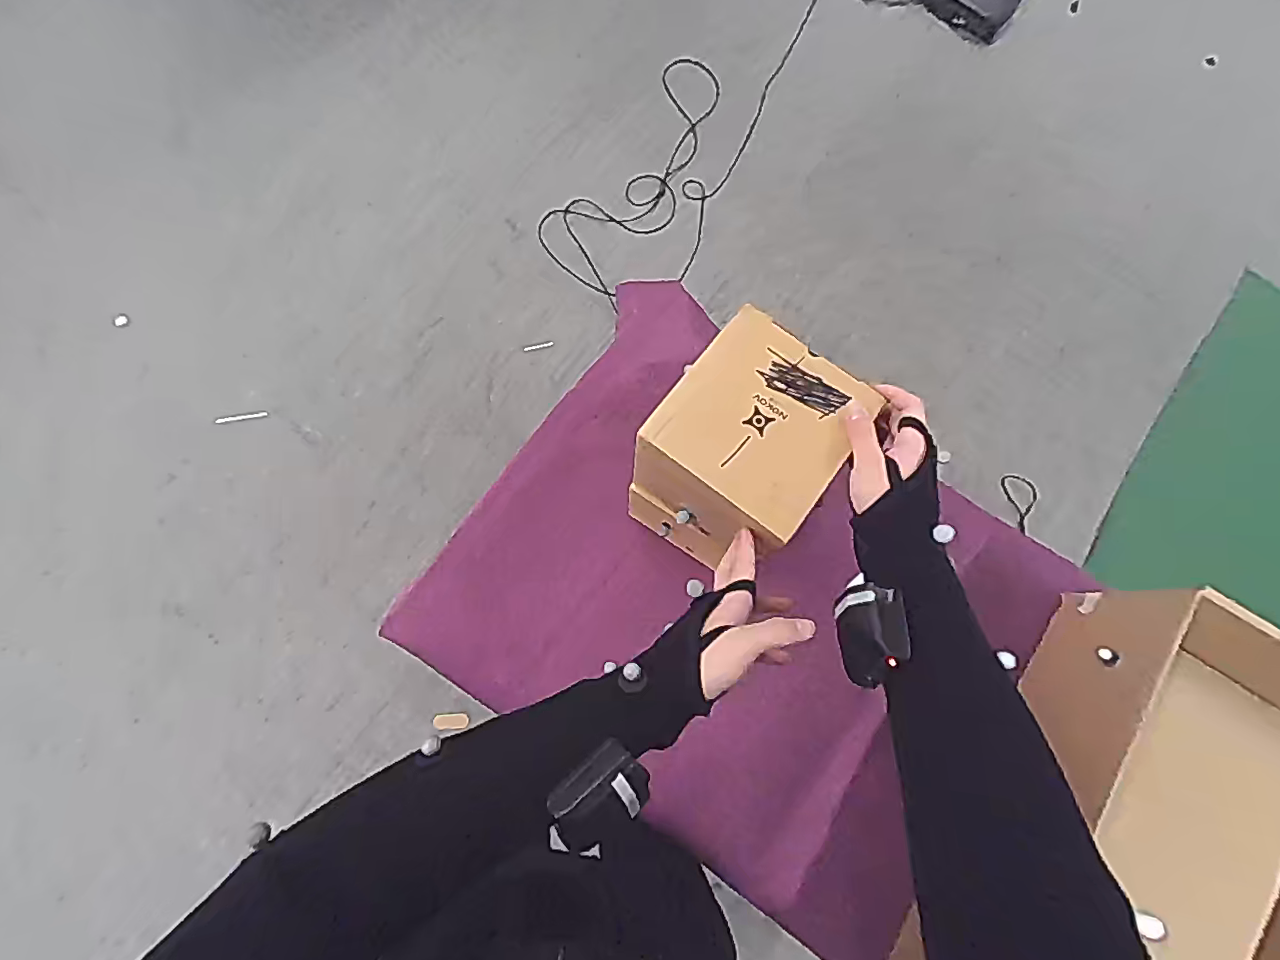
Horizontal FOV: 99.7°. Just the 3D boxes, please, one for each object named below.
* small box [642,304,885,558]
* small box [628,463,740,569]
[{"bbox_3d":[0.112,-0.040,0.572,0.168,0.176,0.179,37,77,9],"label":"small box"},{"bbox_3d":[0.099,0.003,0.730,0.168,0.176,0.179,33,75,7],"label":"small box"}]
